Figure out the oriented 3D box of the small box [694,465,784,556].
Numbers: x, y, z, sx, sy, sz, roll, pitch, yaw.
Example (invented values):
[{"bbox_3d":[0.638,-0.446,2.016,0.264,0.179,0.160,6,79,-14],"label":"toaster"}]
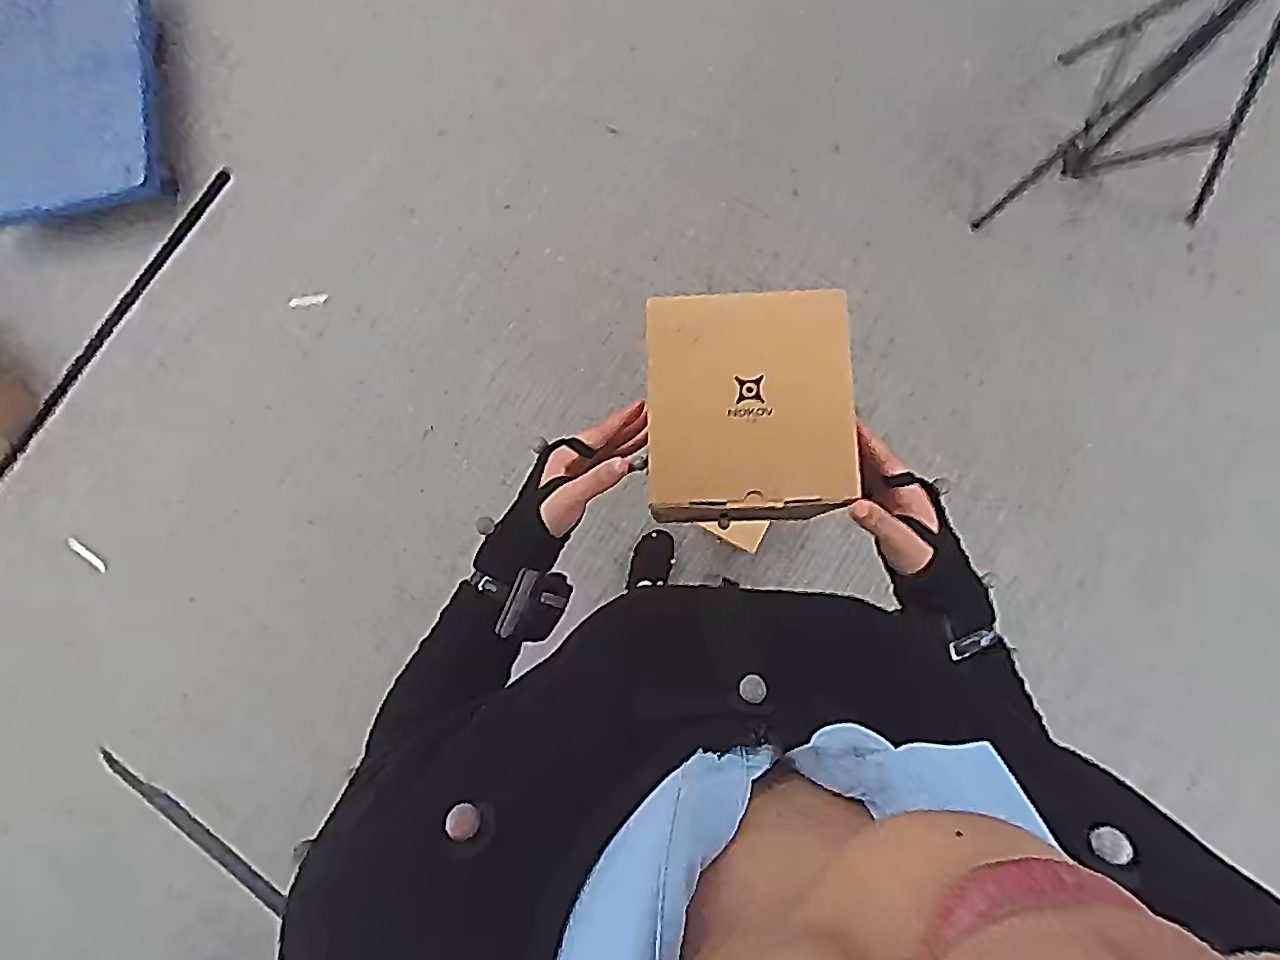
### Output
[{"bbox_3d":[0.256,0.086,1.426,0.168,0.176,0.179,29,85,7],"label":"small box"}]
